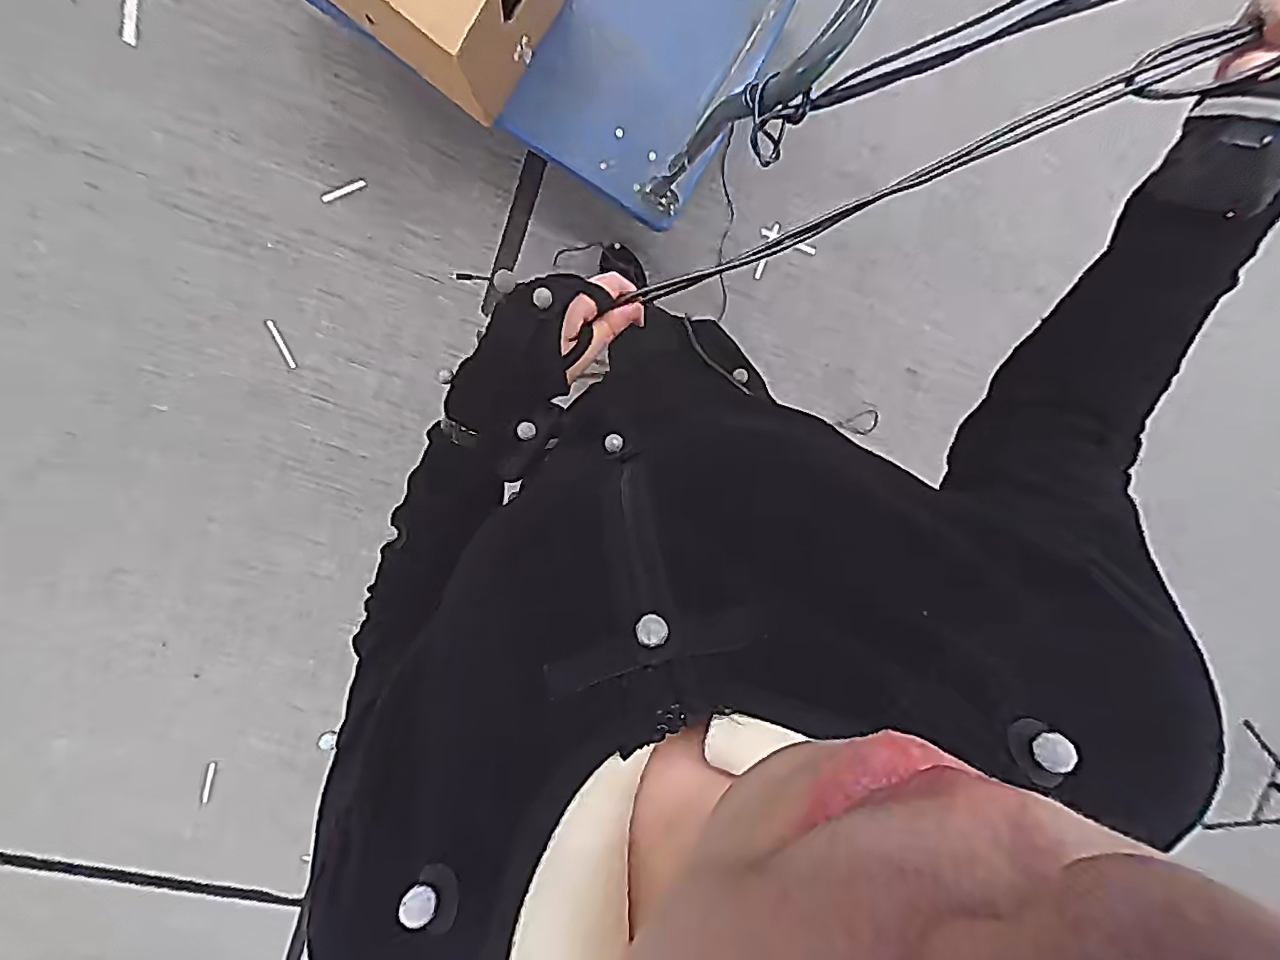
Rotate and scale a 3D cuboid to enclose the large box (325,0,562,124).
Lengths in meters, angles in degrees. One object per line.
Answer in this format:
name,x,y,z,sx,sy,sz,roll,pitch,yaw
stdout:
large box,-0.360,-0.888,0.869,0.408,0.320,0.320,34,99,-14
